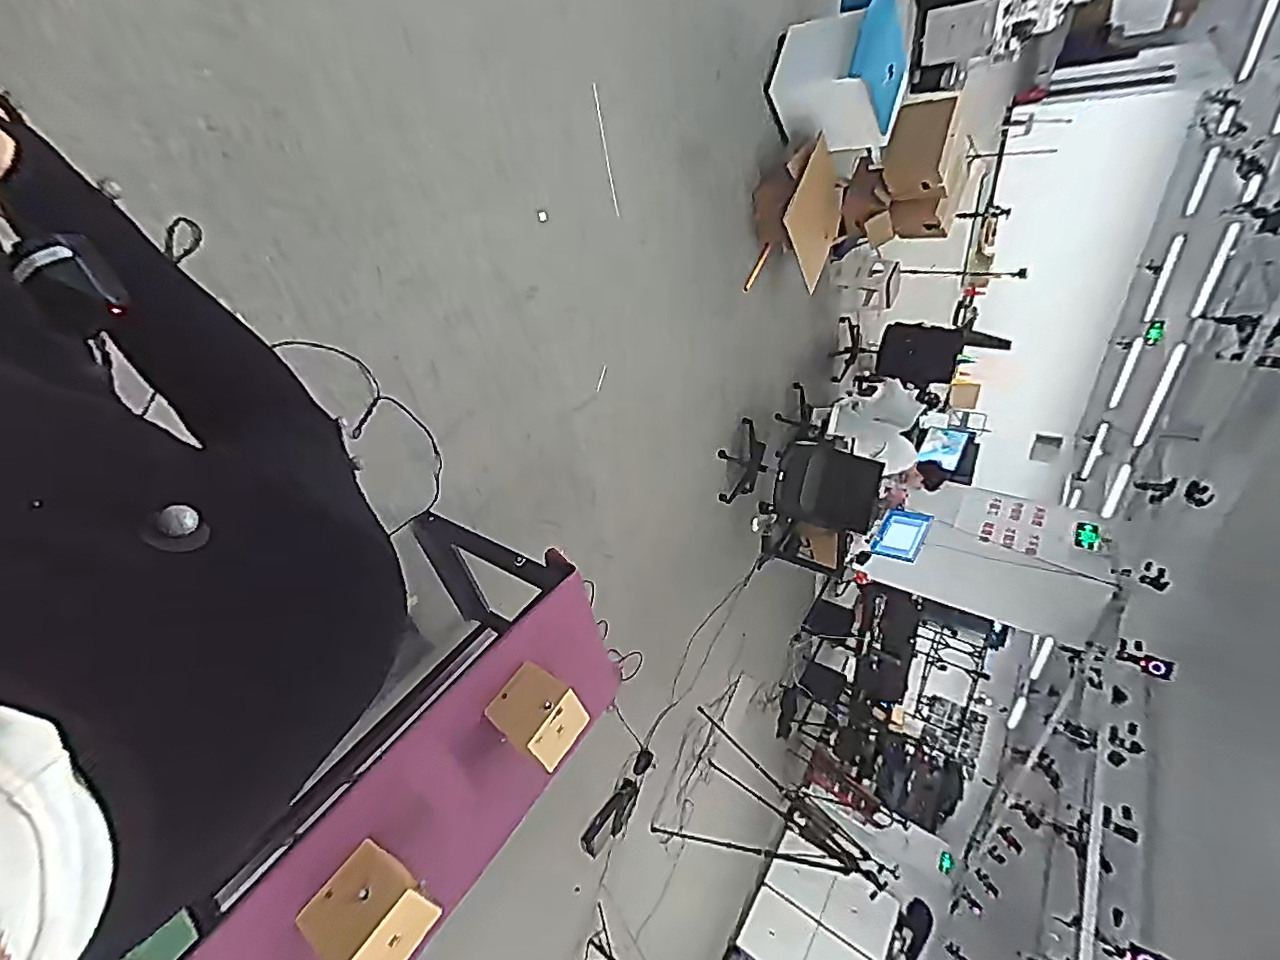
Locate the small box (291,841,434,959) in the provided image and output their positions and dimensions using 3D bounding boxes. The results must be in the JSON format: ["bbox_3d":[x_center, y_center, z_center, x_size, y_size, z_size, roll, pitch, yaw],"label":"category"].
[{"bbox_3d":[-0.574,0.894,1.120,0.168,0.176,0.179,-46,140,-35],"label":"small box"}]

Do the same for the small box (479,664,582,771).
[{"bbox_3d":[-0.284,0.613,1.413,0.168,0.176,0.179,-49,141,-32],"label":"small box"}]
